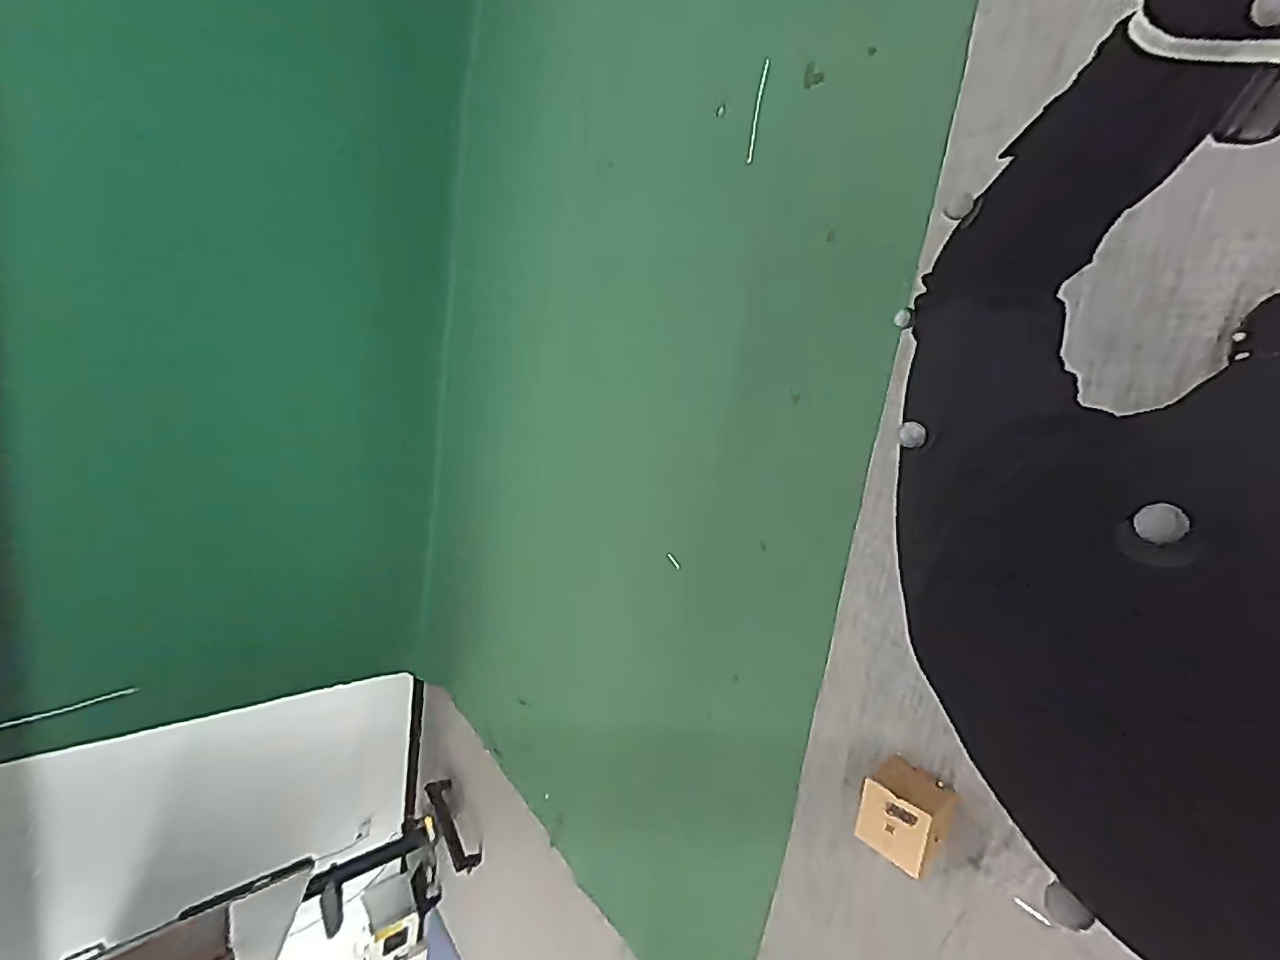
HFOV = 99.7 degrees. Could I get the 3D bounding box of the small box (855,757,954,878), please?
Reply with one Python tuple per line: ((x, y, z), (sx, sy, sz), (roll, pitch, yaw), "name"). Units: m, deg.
((0.686, 0.857, 1.395), (0.168, 0.176, 0.179), (18, 104, 47), "small box")
